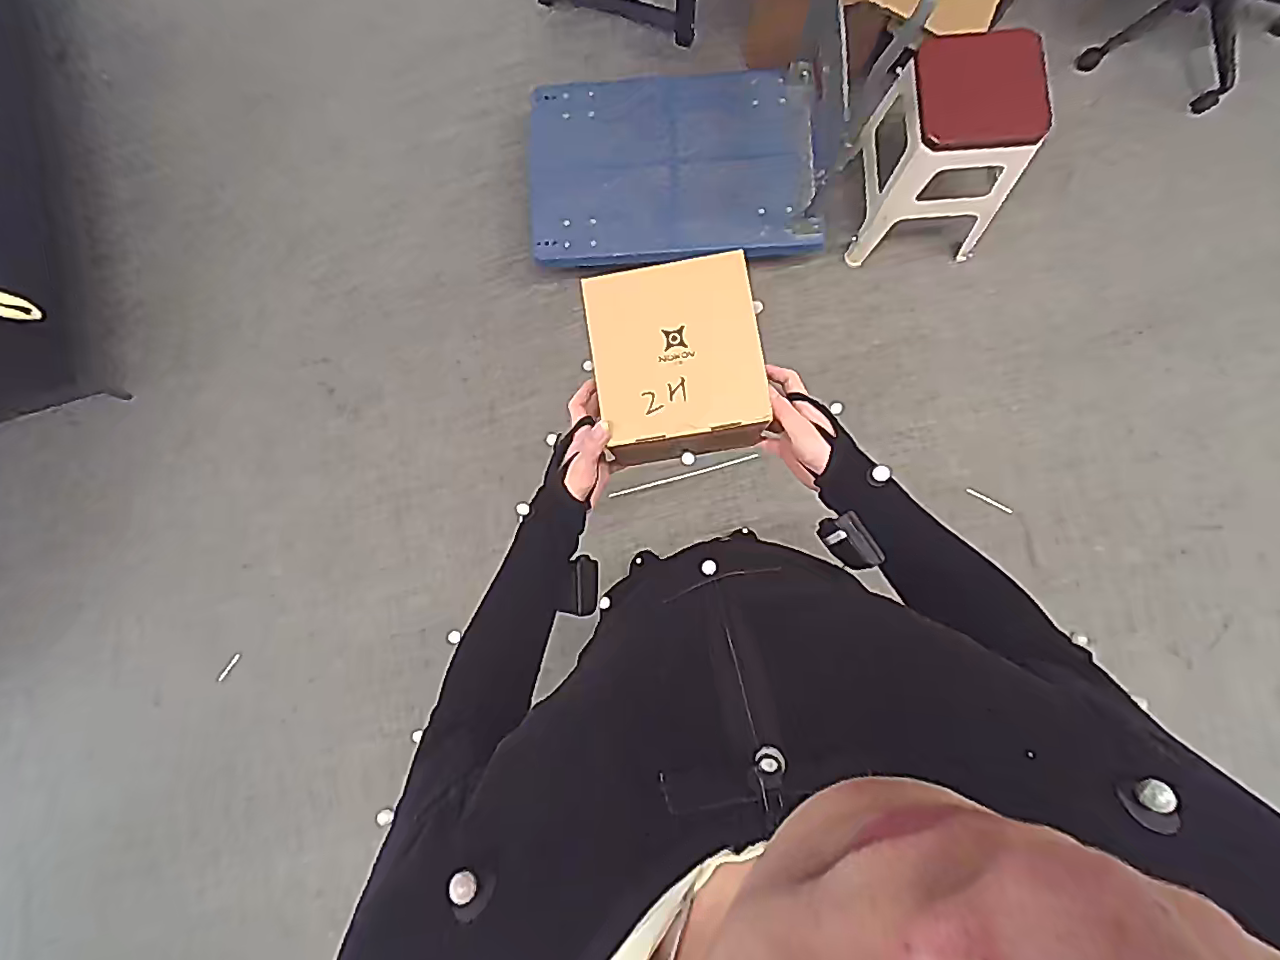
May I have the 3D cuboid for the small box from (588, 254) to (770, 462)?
[{"bbox_3d":[0.042,-0.125,0.618,0.168,0.176,0.179,-8,85,4],"label":"small box"}]
